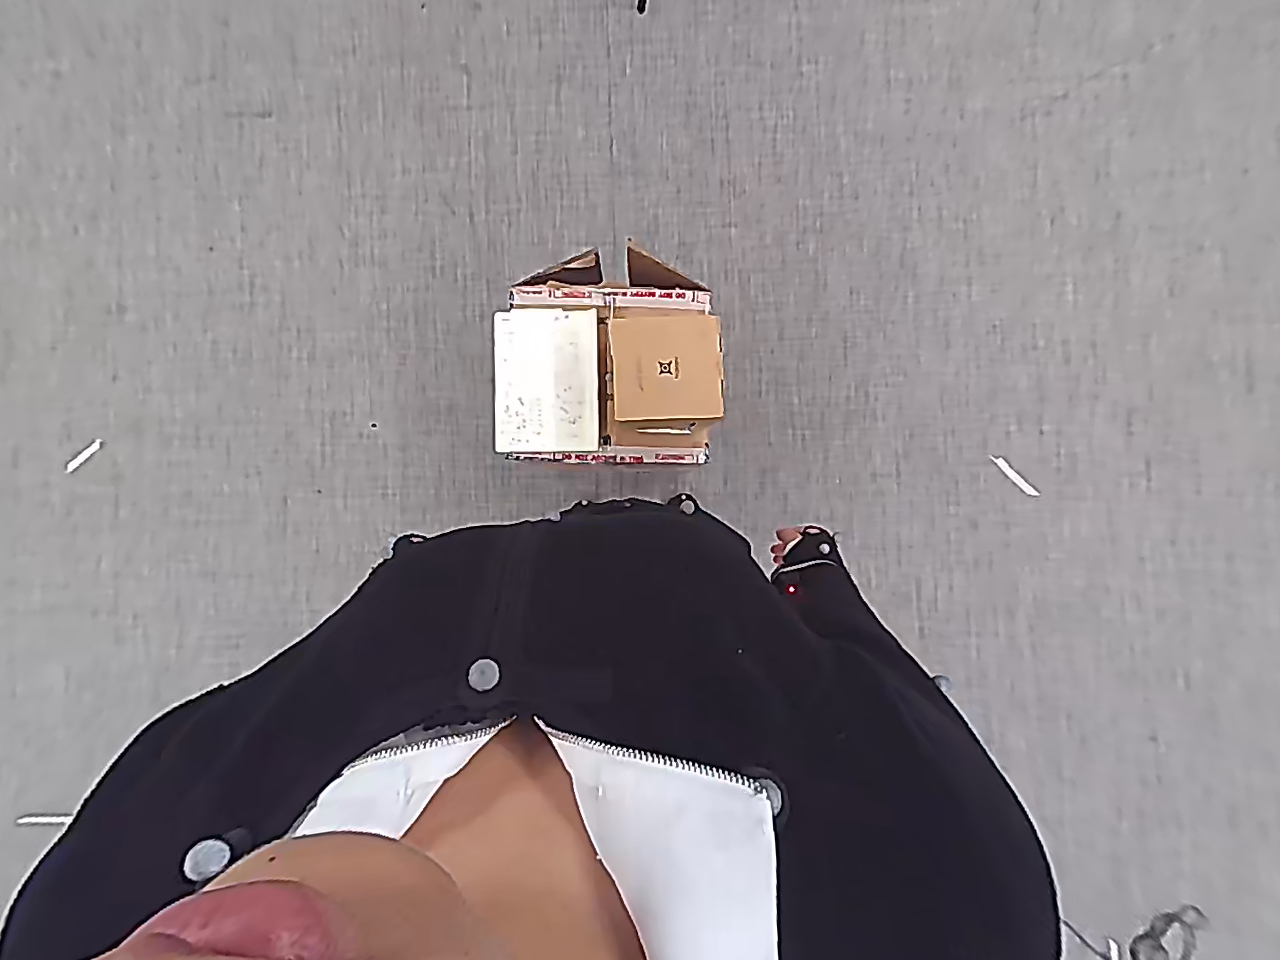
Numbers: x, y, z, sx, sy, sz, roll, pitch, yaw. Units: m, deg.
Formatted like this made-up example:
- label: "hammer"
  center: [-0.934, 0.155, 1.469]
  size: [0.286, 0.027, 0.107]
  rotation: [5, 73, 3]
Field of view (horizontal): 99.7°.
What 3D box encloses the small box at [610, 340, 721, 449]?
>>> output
- label: "small box"
  center: [0.039, -0.144, 0.953]
  size: [0.179, 0.176, 0.168]
  rotation: [-3, 89, 0]
